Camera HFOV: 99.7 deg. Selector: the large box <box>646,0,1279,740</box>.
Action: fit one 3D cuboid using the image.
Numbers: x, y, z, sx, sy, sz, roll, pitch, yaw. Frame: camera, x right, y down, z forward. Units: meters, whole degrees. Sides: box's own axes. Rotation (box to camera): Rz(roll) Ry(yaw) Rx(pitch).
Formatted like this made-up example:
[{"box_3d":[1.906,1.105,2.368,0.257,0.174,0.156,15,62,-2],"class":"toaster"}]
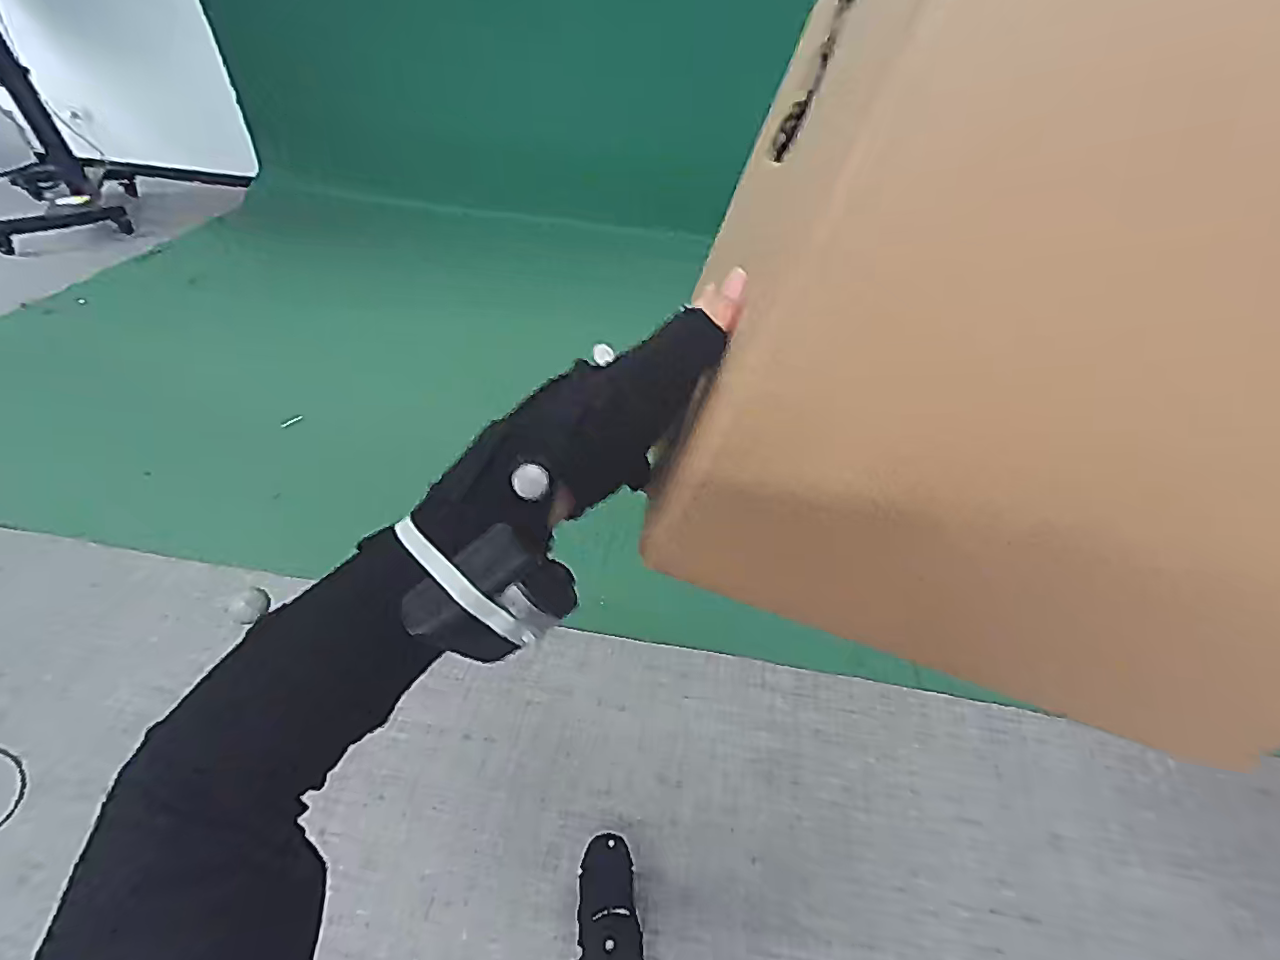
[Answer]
[{"box_3d":[0.247,-0.087,0.378,0.408,0.320,0.320,21,33,-6],"class":"large box"}]
